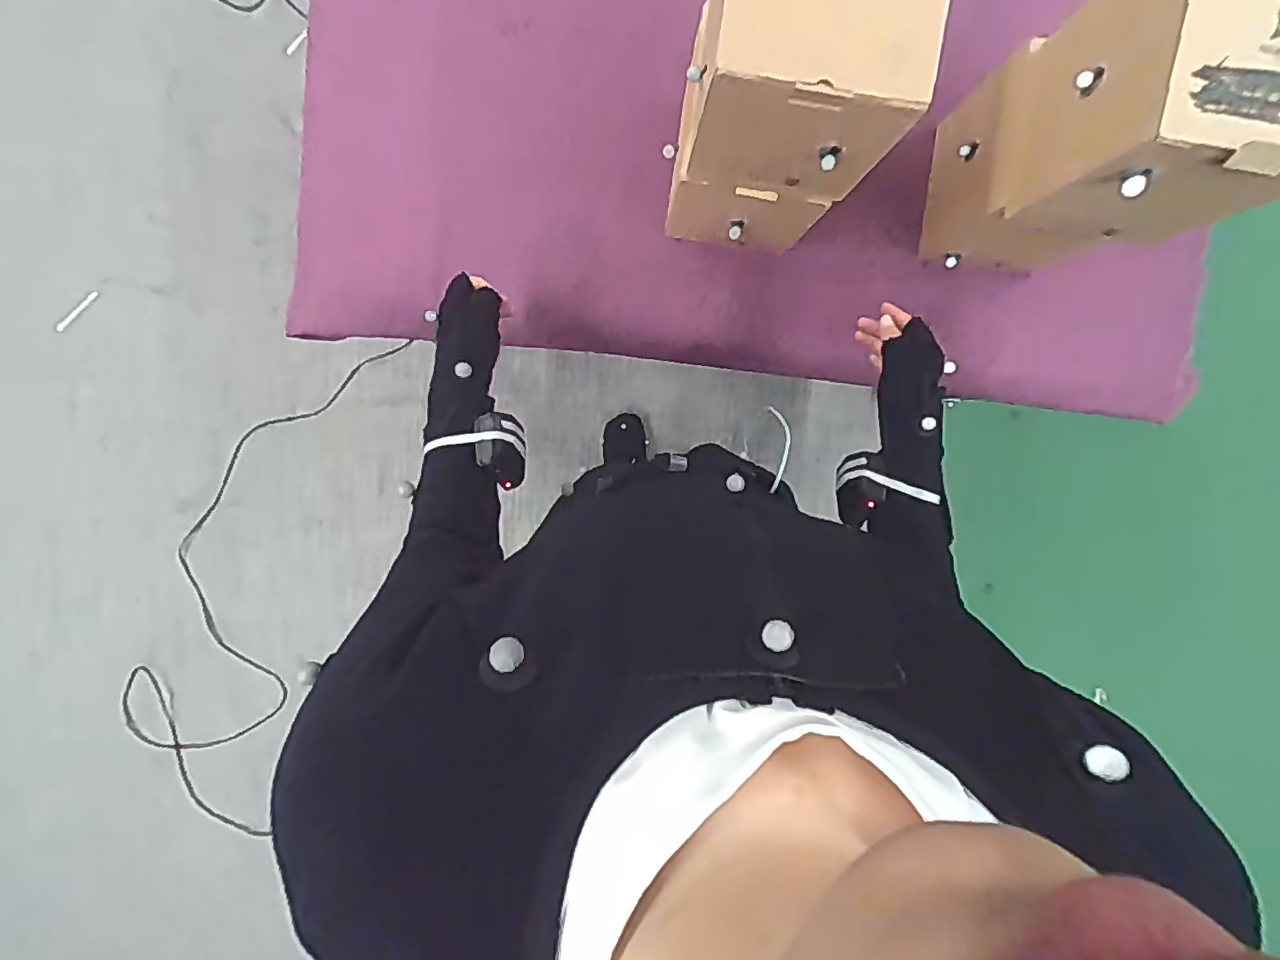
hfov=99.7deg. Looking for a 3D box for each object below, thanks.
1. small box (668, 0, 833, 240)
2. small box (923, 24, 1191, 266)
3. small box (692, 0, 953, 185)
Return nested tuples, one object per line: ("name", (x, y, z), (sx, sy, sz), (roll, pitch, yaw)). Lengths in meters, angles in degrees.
("small box", (0.129, -0.399, 0.623), (0.168, 0.176, 0.179), (9, 96, -4))
("small box", (0.470, -0.372, 0.640), (0.168, 0.176, 0.179), (10, 96, -6))
("small box", (0.144, -0.383, 0.461), (0.168, 0.176, 0.179), (8, 95, -4))
